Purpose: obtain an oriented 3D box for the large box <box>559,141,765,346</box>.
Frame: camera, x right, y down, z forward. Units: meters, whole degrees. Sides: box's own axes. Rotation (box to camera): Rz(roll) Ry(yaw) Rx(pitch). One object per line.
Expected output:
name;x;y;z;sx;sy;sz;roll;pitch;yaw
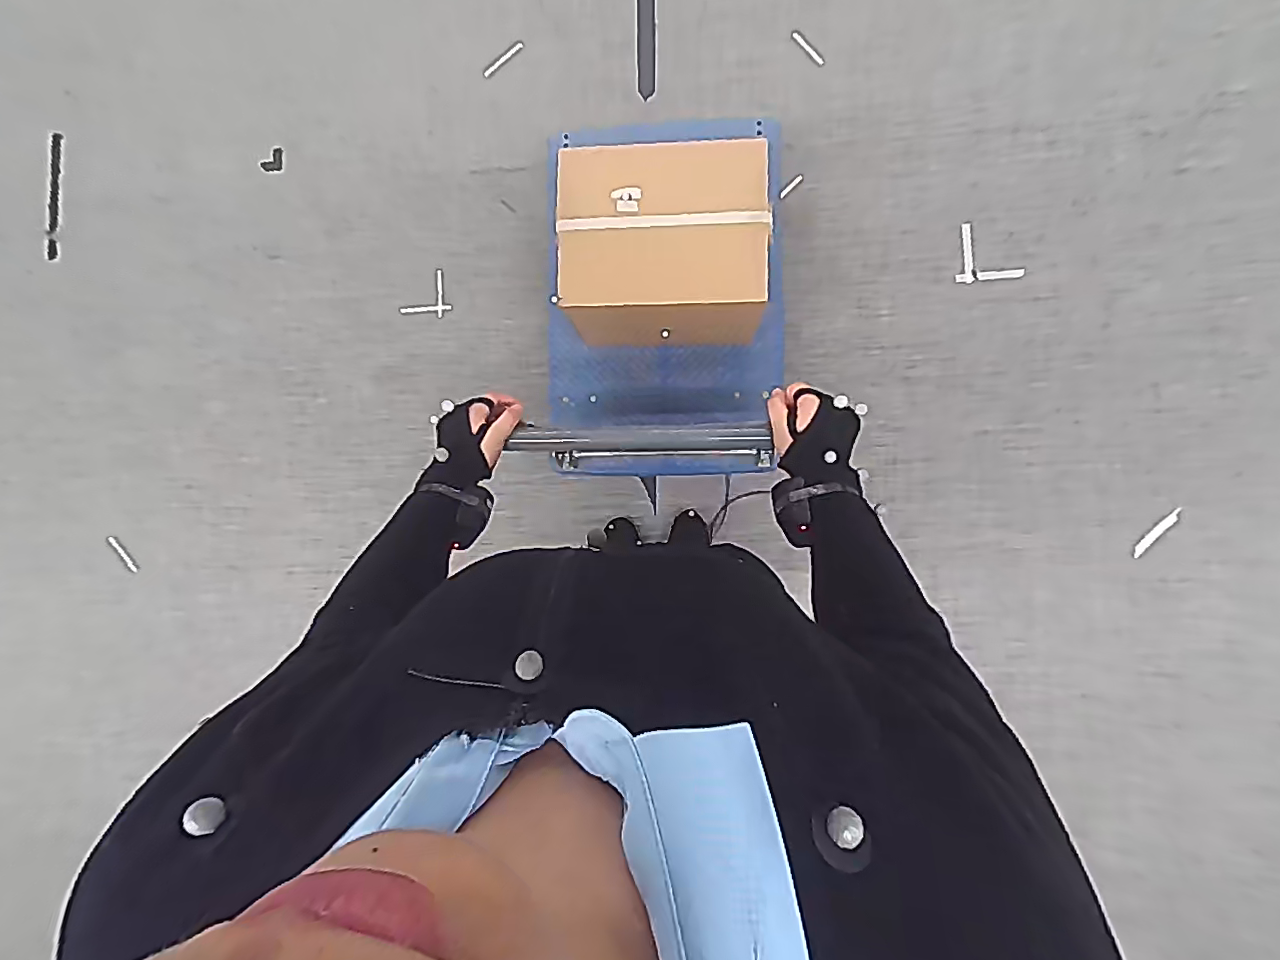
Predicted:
large box;0.055;-0.490;1.197;0.408;0.320;0.320;0;88;6
